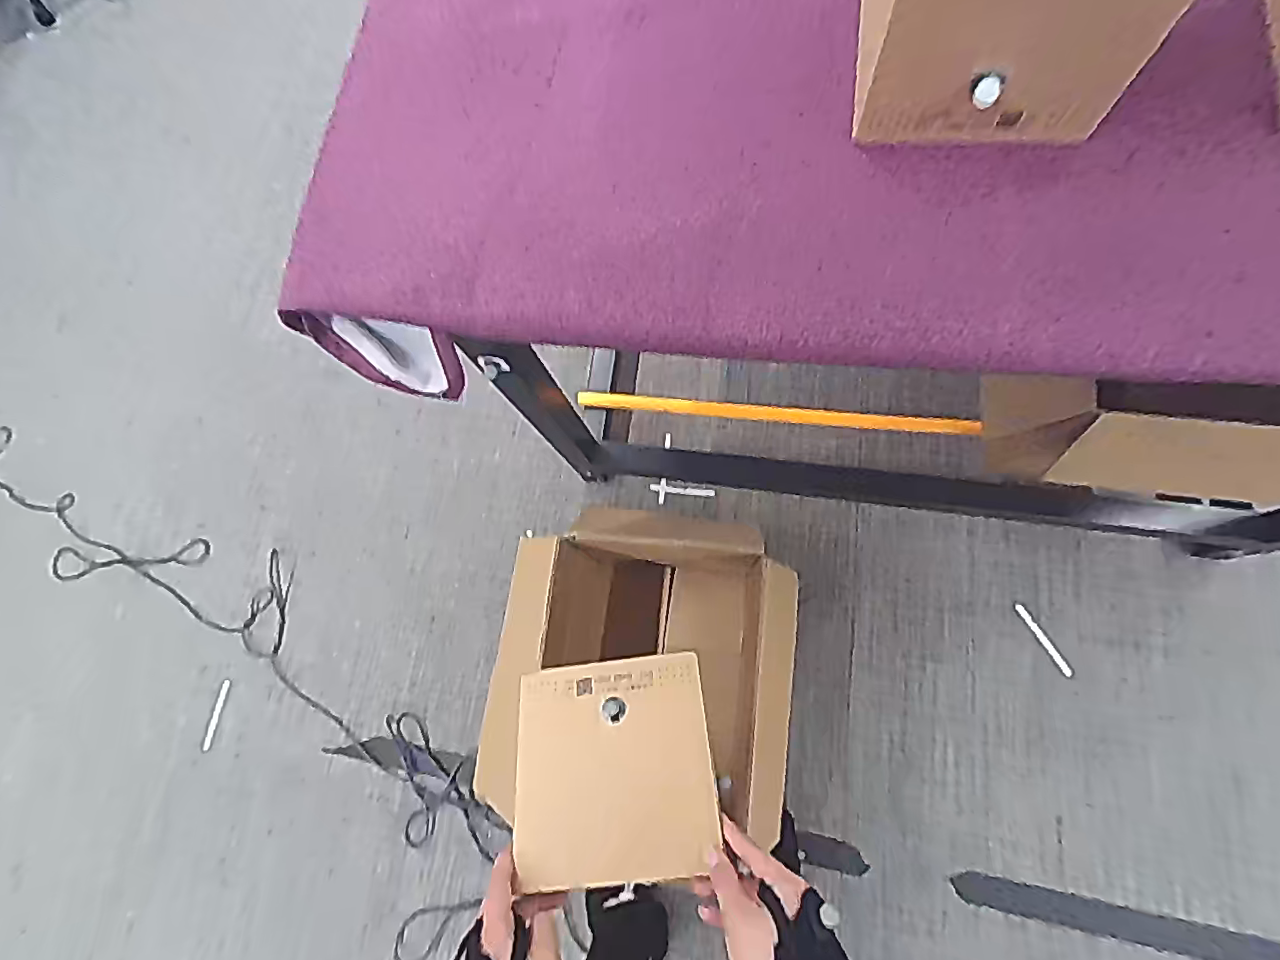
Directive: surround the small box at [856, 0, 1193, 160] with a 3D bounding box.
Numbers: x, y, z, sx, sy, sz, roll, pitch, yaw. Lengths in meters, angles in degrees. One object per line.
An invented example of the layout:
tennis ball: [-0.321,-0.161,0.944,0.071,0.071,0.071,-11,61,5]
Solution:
small box: [0.254,-0.358,0.368,0.168,0.176,0.179,6,76,10]
